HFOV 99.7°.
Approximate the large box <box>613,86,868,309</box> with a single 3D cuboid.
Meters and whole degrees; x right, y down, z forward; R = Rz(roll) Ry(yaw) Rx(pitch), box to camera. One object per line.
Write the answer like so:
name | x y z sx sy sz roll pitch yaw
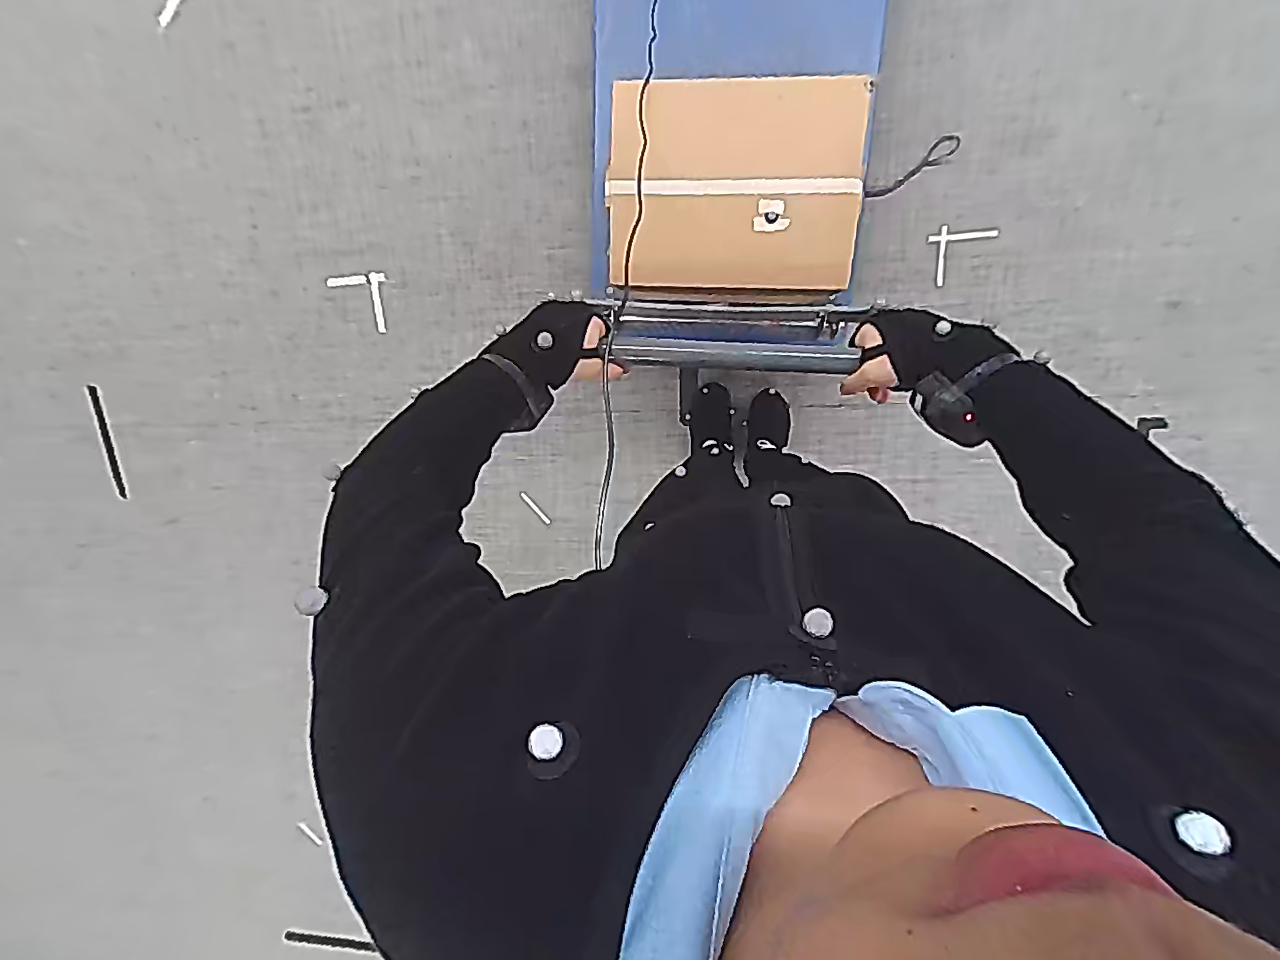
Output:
large box | 0.166 -0.498 1.028 0.408 0.320 0.320 3 105 6
